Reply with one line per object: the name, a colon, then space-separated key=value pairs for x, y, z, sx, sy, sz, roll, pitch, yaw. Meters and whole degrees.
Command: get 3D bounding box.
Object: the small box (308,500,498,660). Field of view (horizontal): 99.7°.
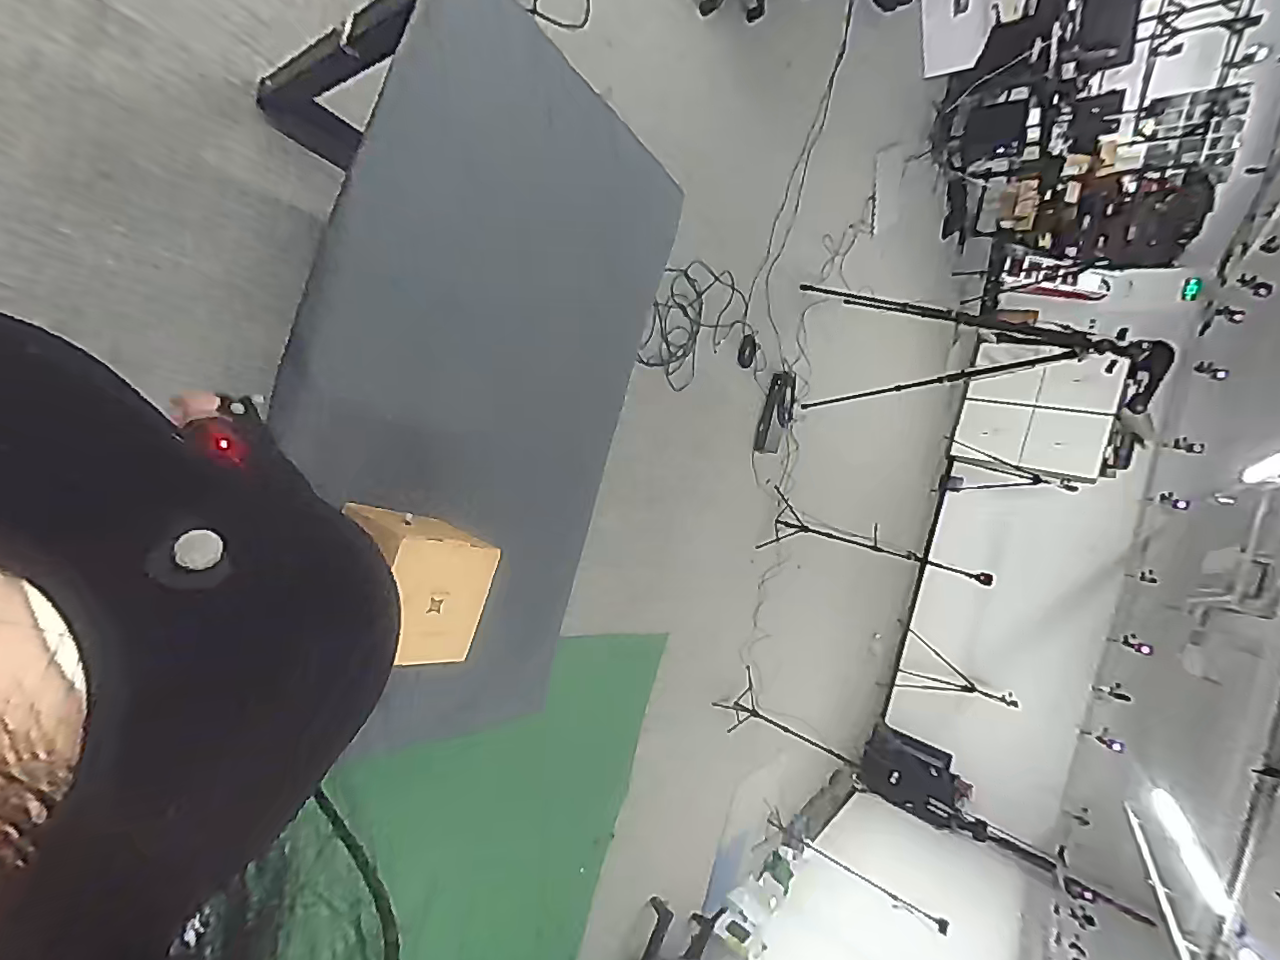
small box: x=-0.342 y=0.139 z=0.778 sx=0.168 sy=0.176 sz=0.179 roll=21 pitch=86 yaw=-54
